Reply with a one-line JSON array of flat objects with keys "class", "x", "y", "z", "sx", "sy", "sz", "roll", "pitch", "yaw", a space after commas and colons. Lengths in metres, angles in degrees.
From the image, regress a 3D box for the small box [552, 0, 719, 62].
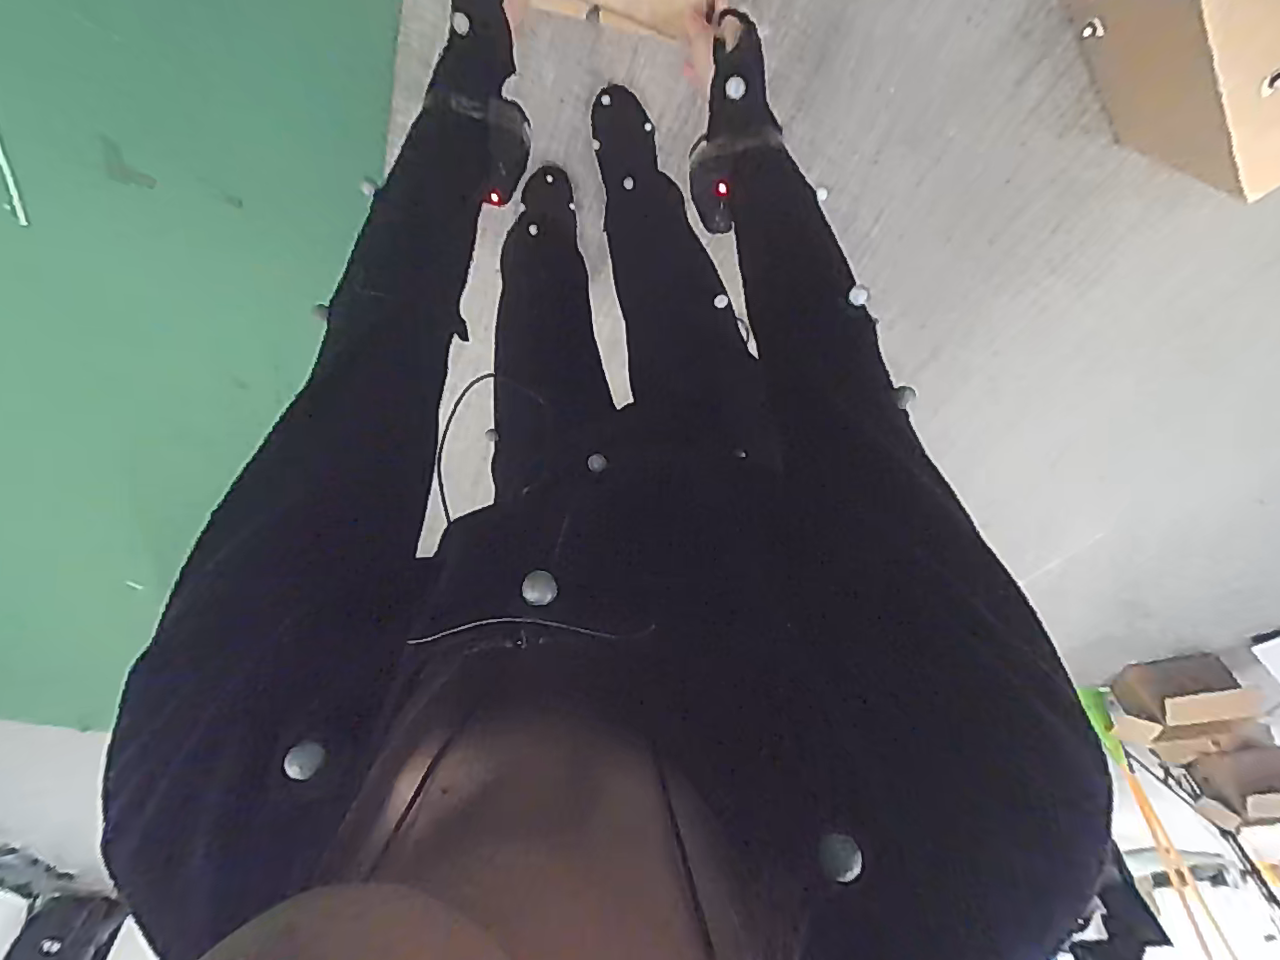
[{"class": "small box", "x": -0.013, "y": -0.518, "z": 0.490, "sx": 0.179, "sy": 0.176, "sz": 0.168, "roll": 9, "pitch": 128, "yaw": -19}]
